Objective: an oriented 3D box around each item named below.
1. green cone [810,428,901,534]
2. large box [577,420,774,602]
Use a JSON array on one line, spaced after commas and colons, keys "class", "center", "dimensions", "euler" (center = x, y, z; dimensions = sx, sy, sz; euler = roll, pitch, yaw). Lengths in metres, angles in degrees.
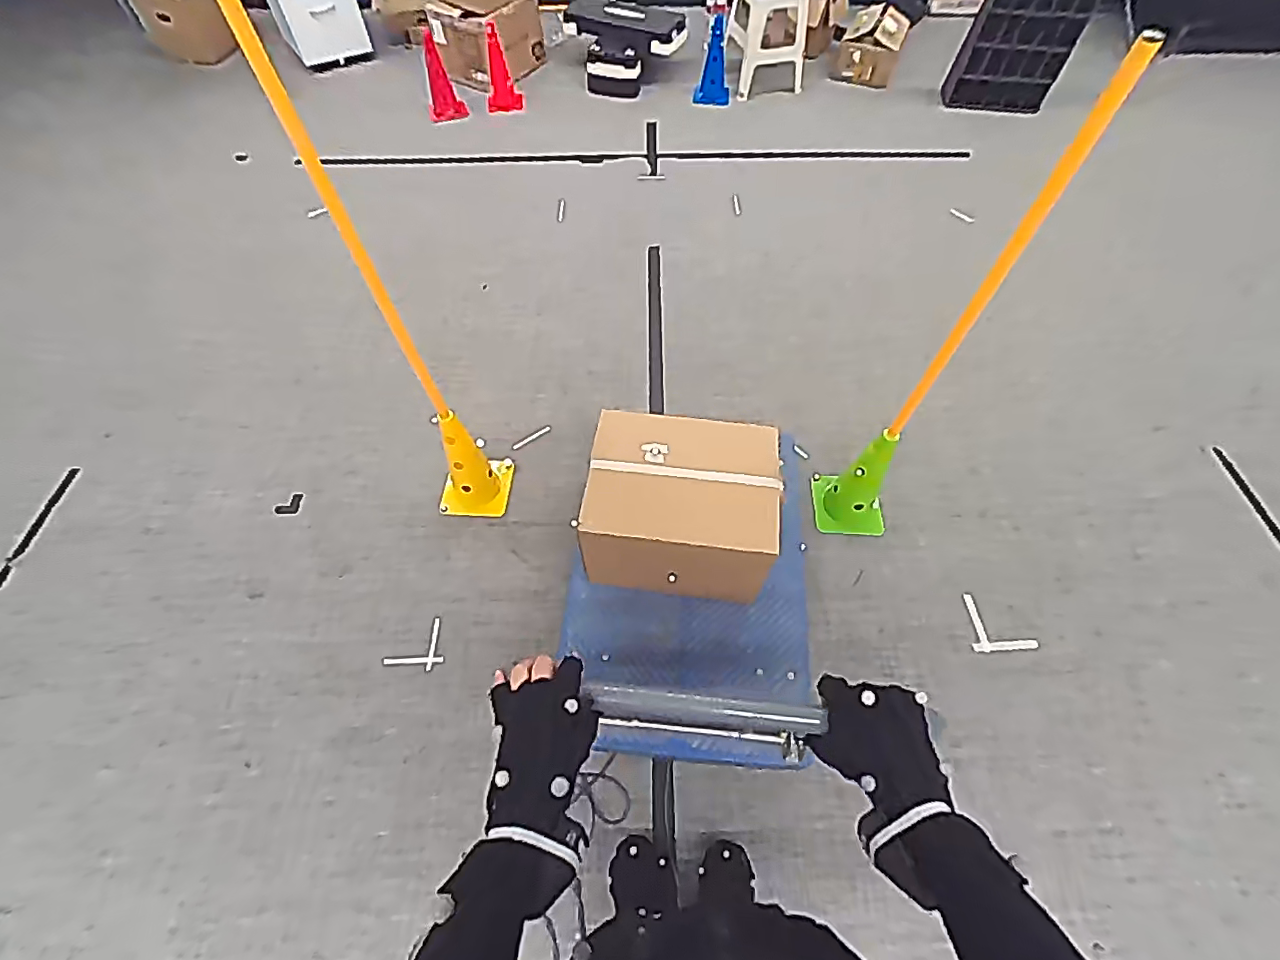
[{"class": "green cone", "center": [0.631, -0.018, 1.512], "dimensions": [0.202, 0.368, 0.200], "euler": [3, 58, 1]}, {"class": "large box", "center": [0.090, 0.082, 1.284], "dimensions": [0.408, 0.320, 0.320], "euler": [6, 59, 5]}]
